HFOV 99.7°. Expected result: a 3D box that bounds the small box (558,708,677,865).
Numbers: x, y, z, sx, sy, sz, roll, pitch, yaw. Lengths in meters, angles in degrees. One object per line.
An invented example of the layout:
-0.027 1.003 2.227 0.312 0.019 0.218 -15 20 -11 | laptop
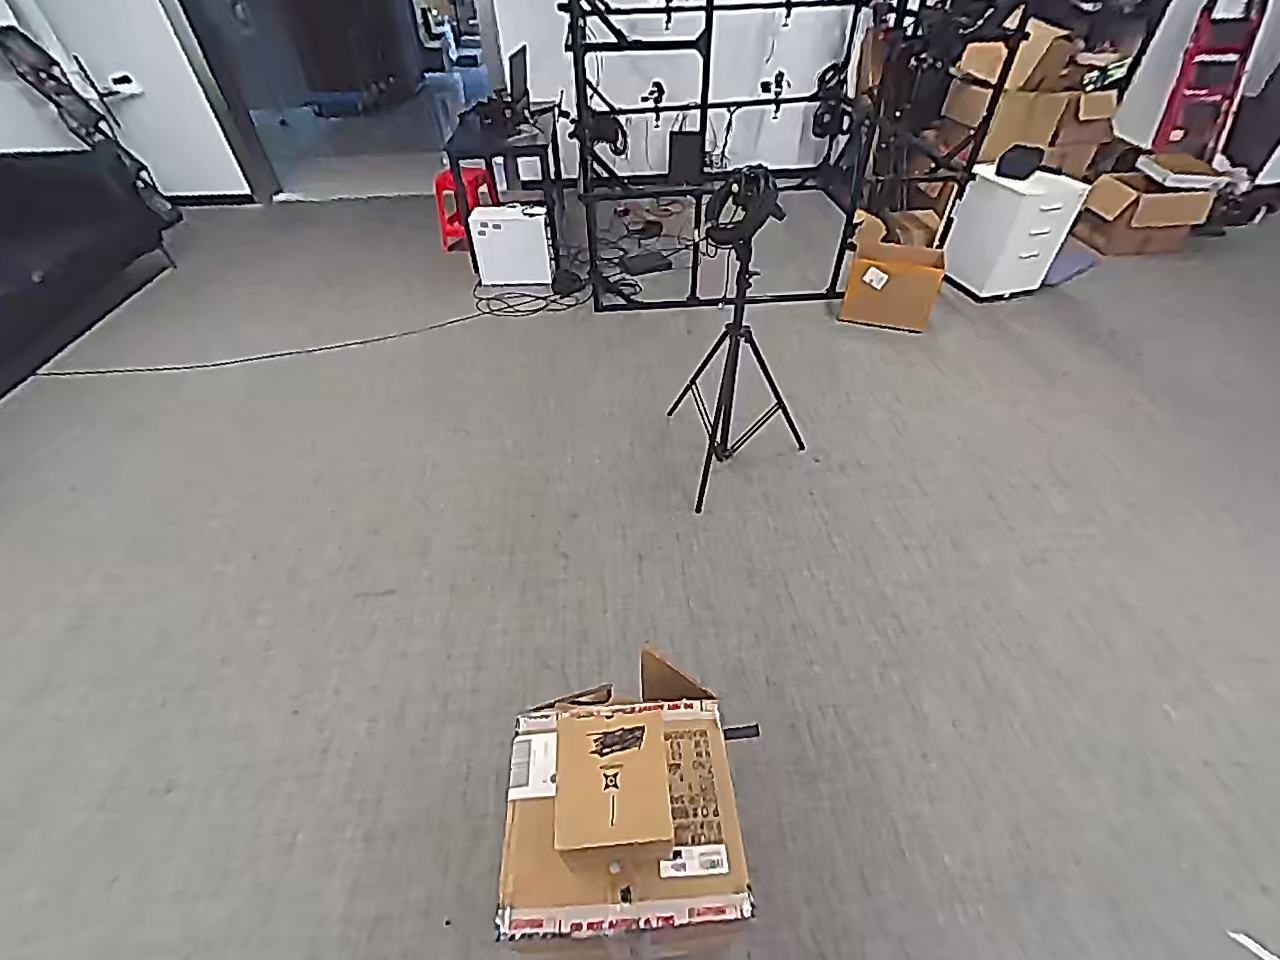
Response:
-0.036 0.483 0.852 0.168 0.176 0.179 -4 48 -2 | small box
